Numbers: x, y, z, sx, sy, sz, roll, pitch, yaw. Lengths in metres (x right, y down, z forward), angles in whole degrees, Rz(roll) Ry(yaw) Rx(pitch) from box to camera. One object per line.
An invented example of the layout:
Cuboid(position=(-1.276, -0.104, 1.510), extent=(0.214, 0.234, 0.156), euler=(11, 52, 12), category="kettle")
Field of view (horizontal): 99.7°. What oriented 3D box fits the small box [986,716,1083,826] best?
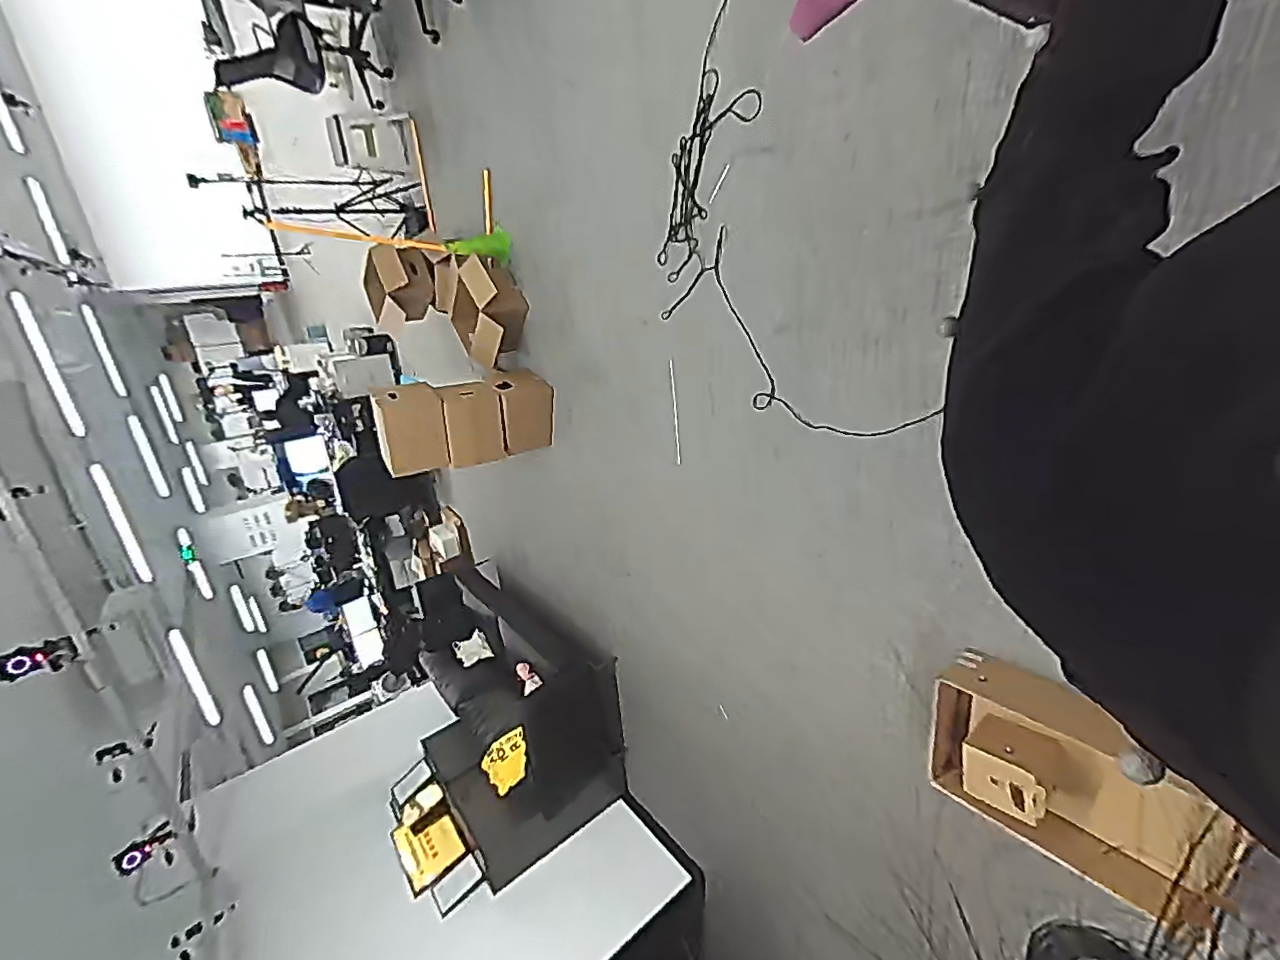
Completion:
Cuboid(position=(1.077, 0.781, 1.474), extent=(0.179, 0.176, 0.168), euler=(9, 113, 54), category="small box")
